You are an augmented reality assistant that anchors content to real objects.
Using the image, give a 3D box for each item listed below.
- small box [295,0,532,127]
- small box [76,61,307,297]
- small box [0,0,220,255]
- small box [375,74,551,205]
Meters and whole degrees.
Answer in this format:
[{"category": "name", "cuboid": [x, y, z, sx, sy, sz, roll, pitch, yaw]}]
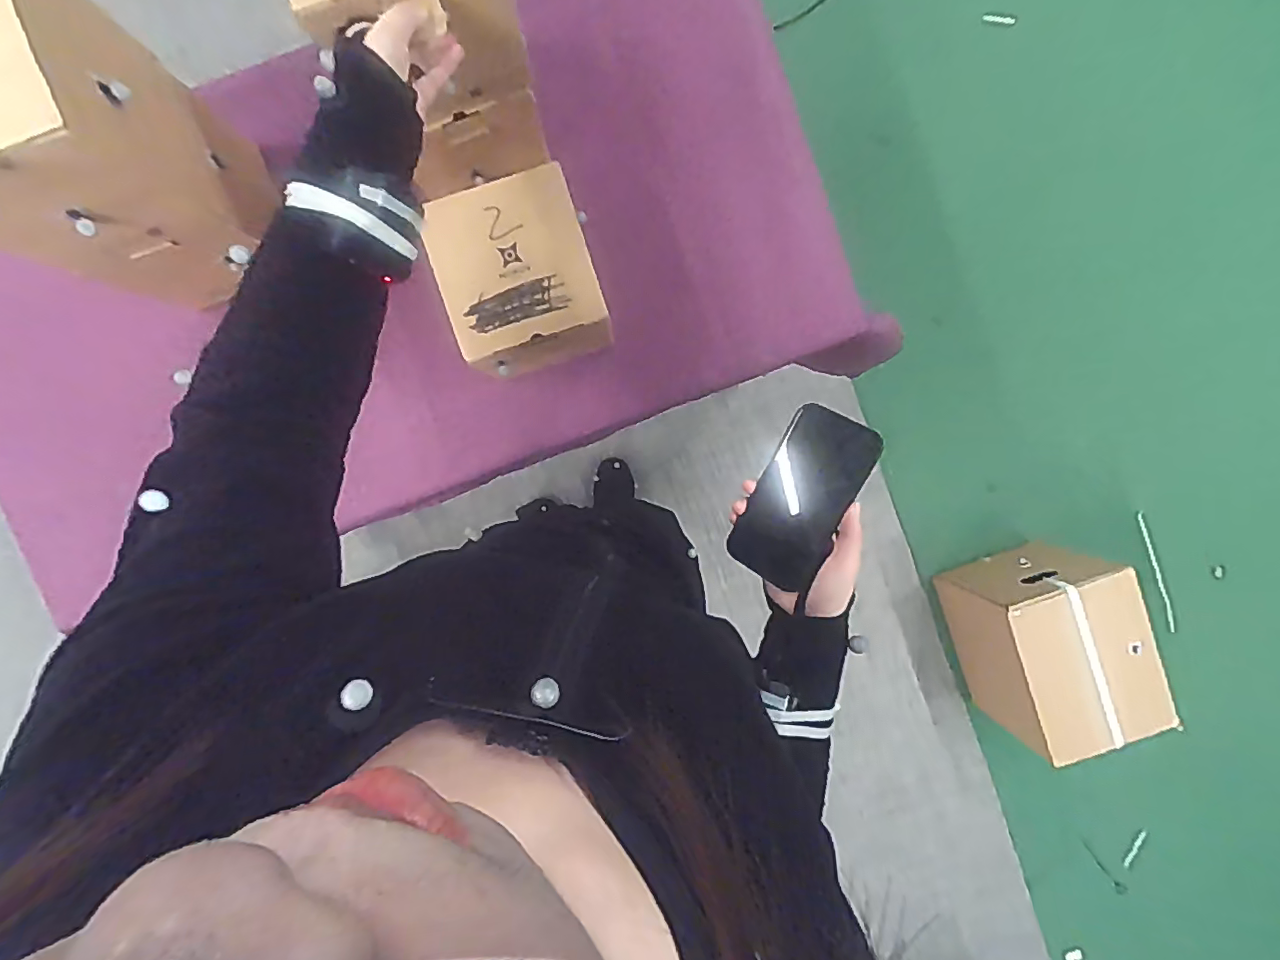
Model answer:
[{"category": "small box", "cuboid": [-0.210, -0.464, 0.475, 0.168, 0.176, 0.179, -20, 95, 0]}, {"category": "small box", "cuboid": [-0.543, -0.335, 0.644, 0.168, 0.176, 0.179, -20, 95, -1]}, {"category": "small box", "cuboid": [-0.531, -0.322, 0.479, 0.168, 0.176, 0.179, -20, 95, -1]}, {"category": "small box", "cuboid": [-0.219, -0.468, 0.640, 0.168, 0.176, 0.179, -22, 96, 0]}]
